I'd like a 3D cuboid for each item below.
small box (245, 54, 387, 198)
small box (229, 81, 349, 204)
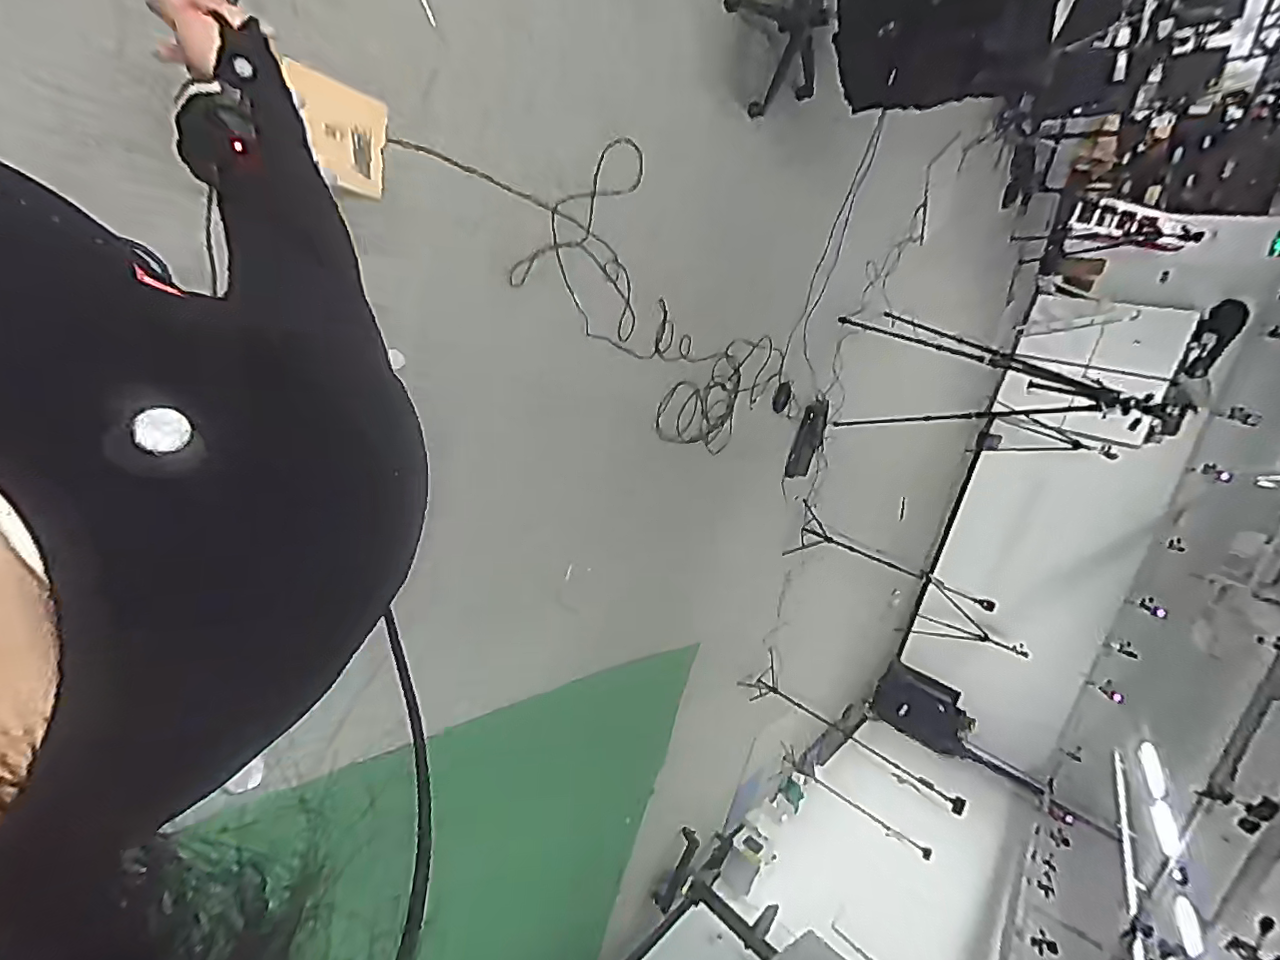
[{"bbox_3d":[-0.598,-0.639,0.997,0.179,0.176,0.168,-3,111,-48],"label":"small box"},{"bbox_3d":[-0.718,-0.674,1.104,0.179,0.176,0.168,-9,116,-48],"label":"small box"}]
